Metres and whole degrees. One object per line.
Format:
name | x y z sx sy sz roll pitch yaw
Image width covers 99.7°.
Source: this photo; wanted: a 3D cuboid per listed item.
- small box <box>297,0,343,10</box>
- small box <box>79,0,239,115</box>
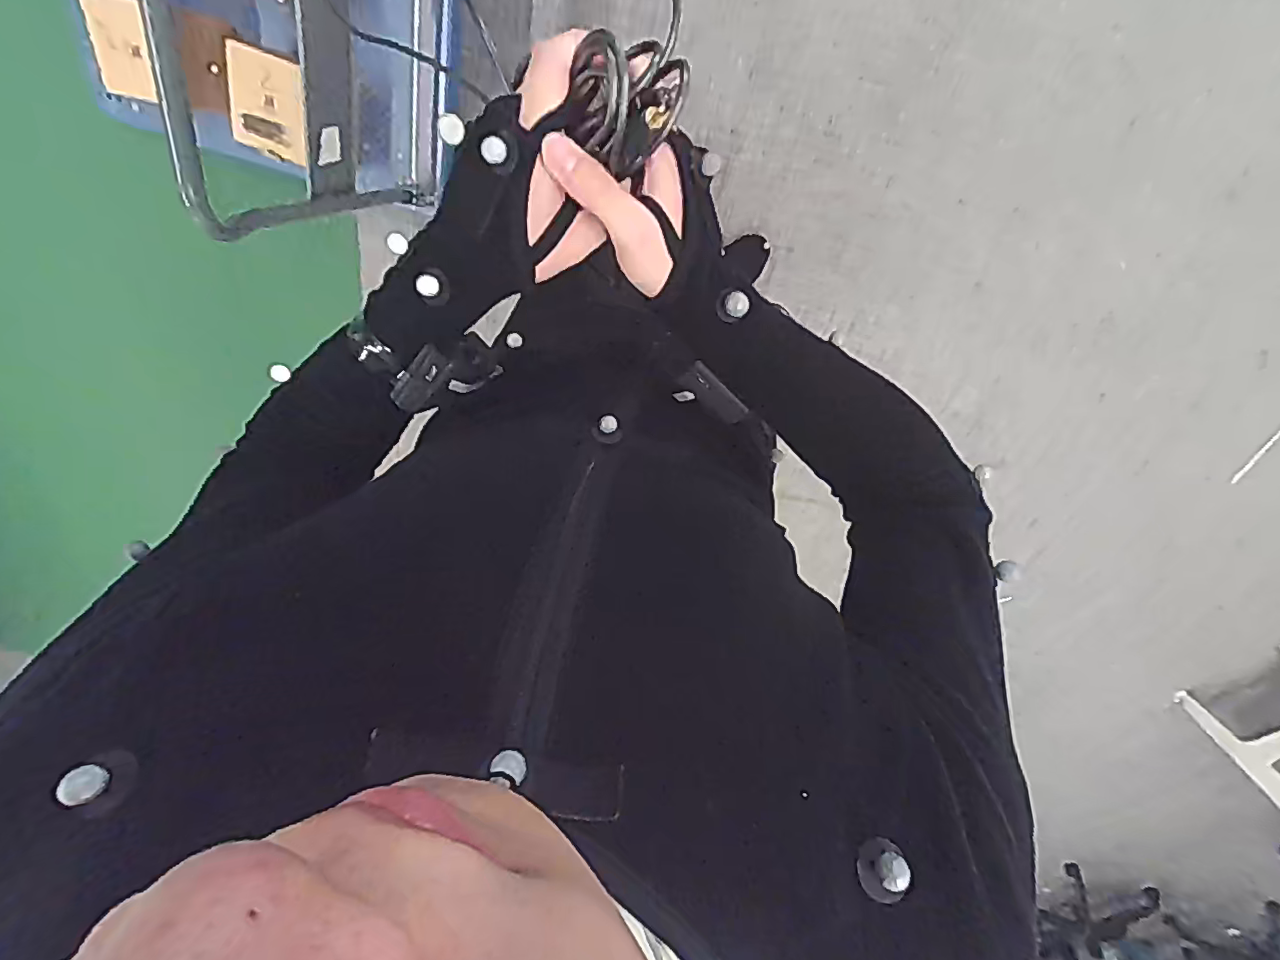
small box | -0.680 -1.002 0.993 0.179 0.176 0.168 18 123 -1
small box | -0.983 -0.877 1.129 0.179 0.176 0.168 14 122 2
